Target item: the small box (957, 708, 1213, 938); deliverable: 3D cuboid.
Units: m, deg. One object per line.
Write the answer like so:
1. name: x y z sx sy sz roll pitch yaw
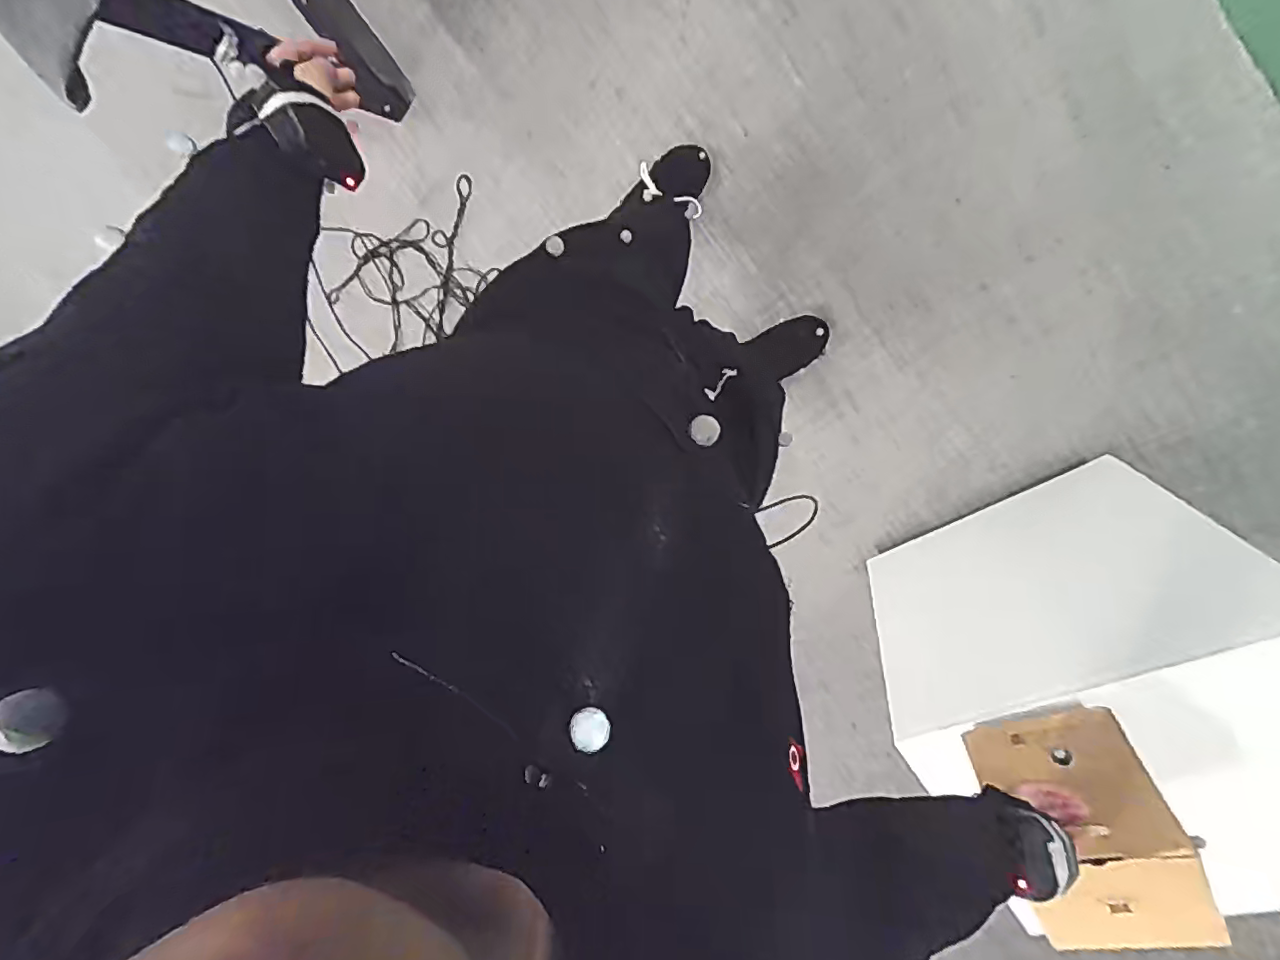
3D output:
1. small box: 0.514 0.407 0.647 0.168 0.176 0.179 -26 112 25
